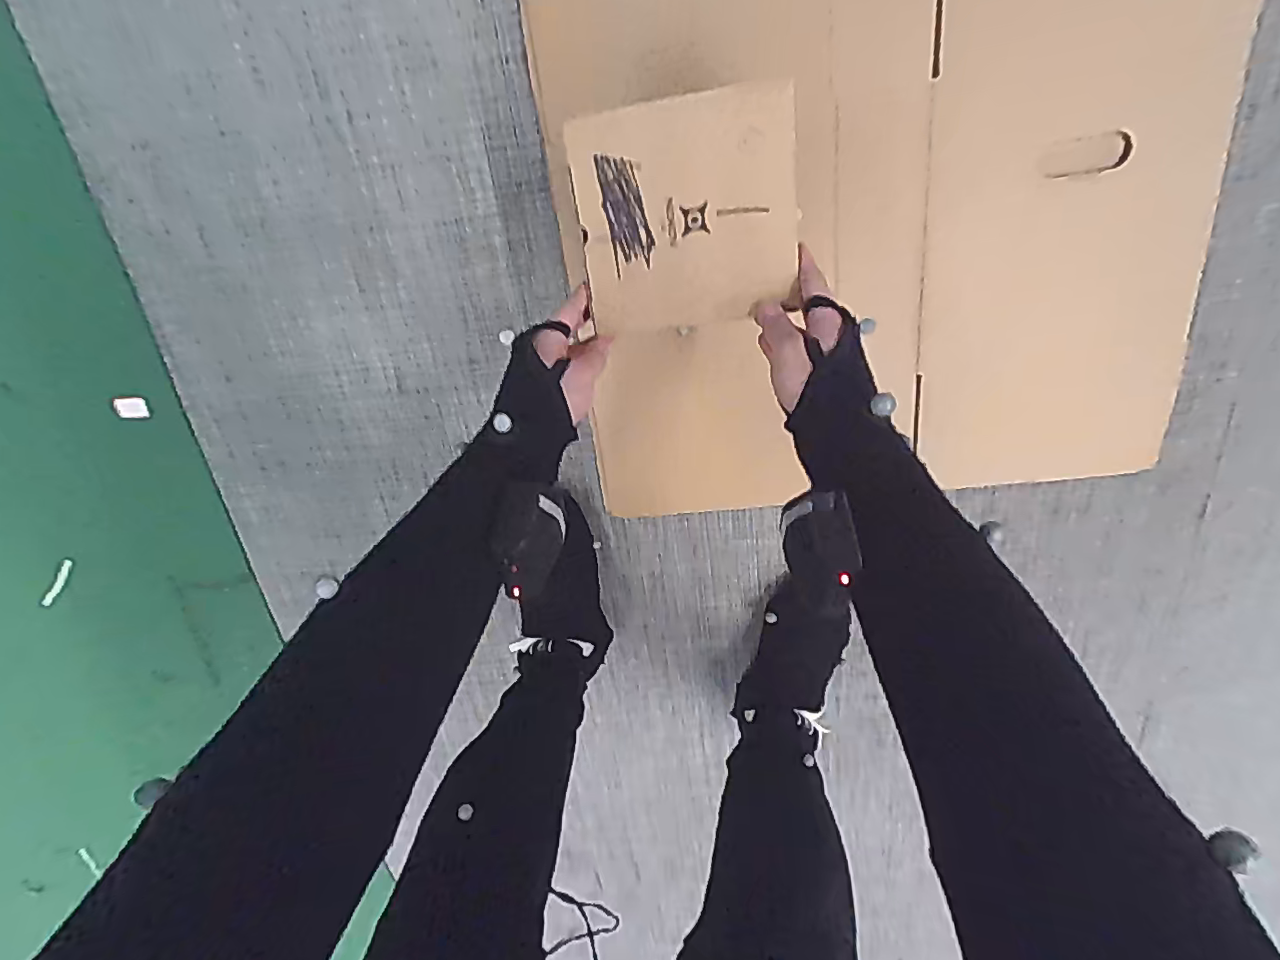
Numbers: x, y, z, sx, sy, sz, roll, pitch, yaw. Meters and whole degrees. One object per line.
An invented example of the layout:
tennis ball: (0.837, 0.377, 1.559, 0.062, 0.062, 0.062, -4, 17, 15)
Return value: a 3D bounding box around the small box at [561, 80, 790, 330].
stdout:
small box: (0.043, -0.240, 0.508, 0.179, 0.176, 0.168, -4, 112, 10)
